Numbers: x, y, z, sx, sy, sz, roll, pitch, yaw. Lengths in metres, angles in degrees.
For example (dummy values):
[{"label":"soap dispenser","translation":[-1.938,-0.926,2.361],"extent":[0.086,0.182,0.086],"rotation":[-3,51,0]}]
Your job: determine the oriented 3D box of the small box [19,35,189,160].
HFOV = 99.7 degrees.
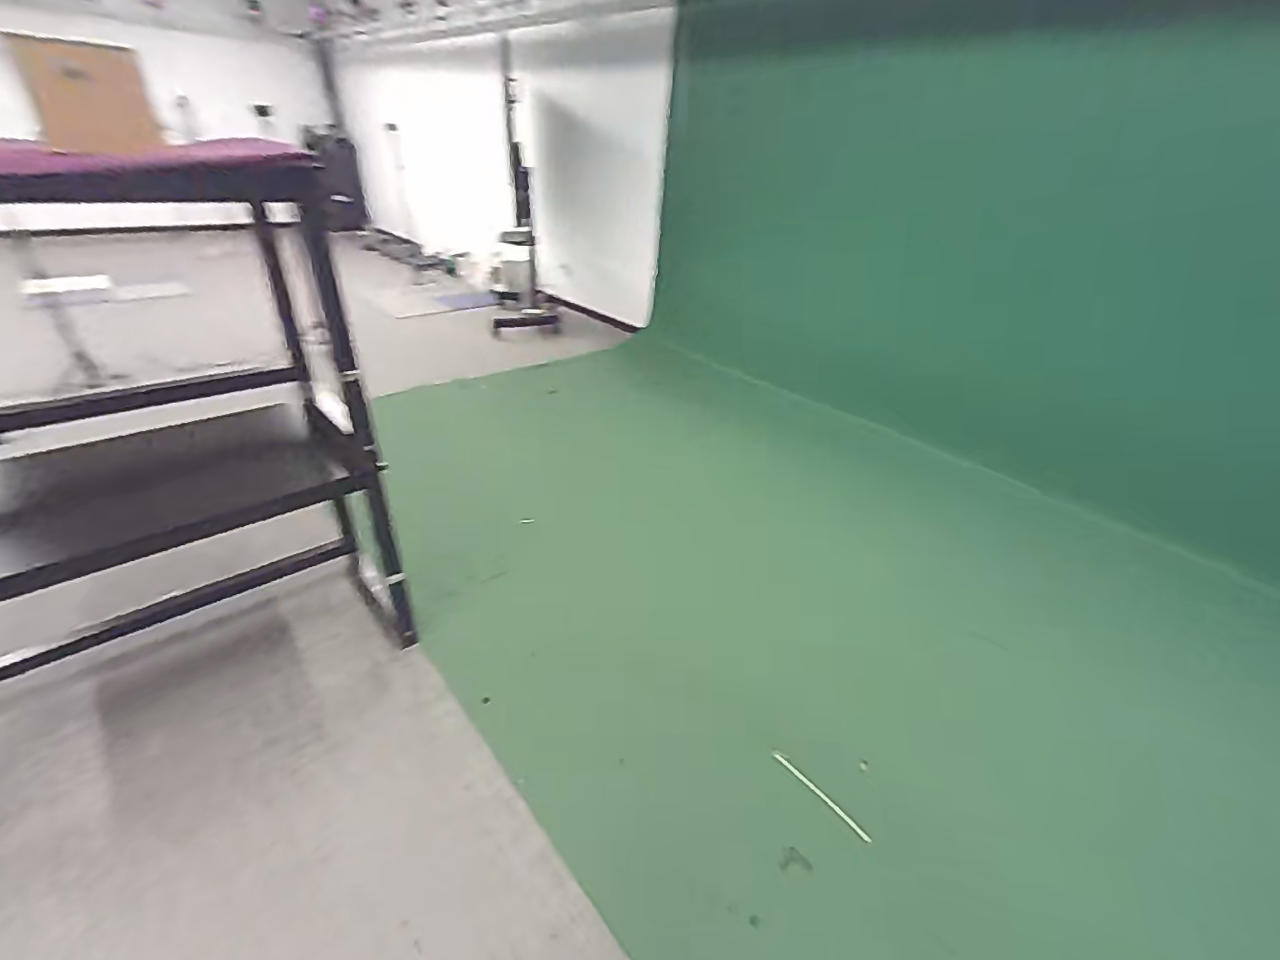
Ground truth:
[{"label":"small box","translation":[-0.994,-0.705,1.016],"extent":[0.179,0.176,0.168],"rotation":[-21,38,-36]}]
